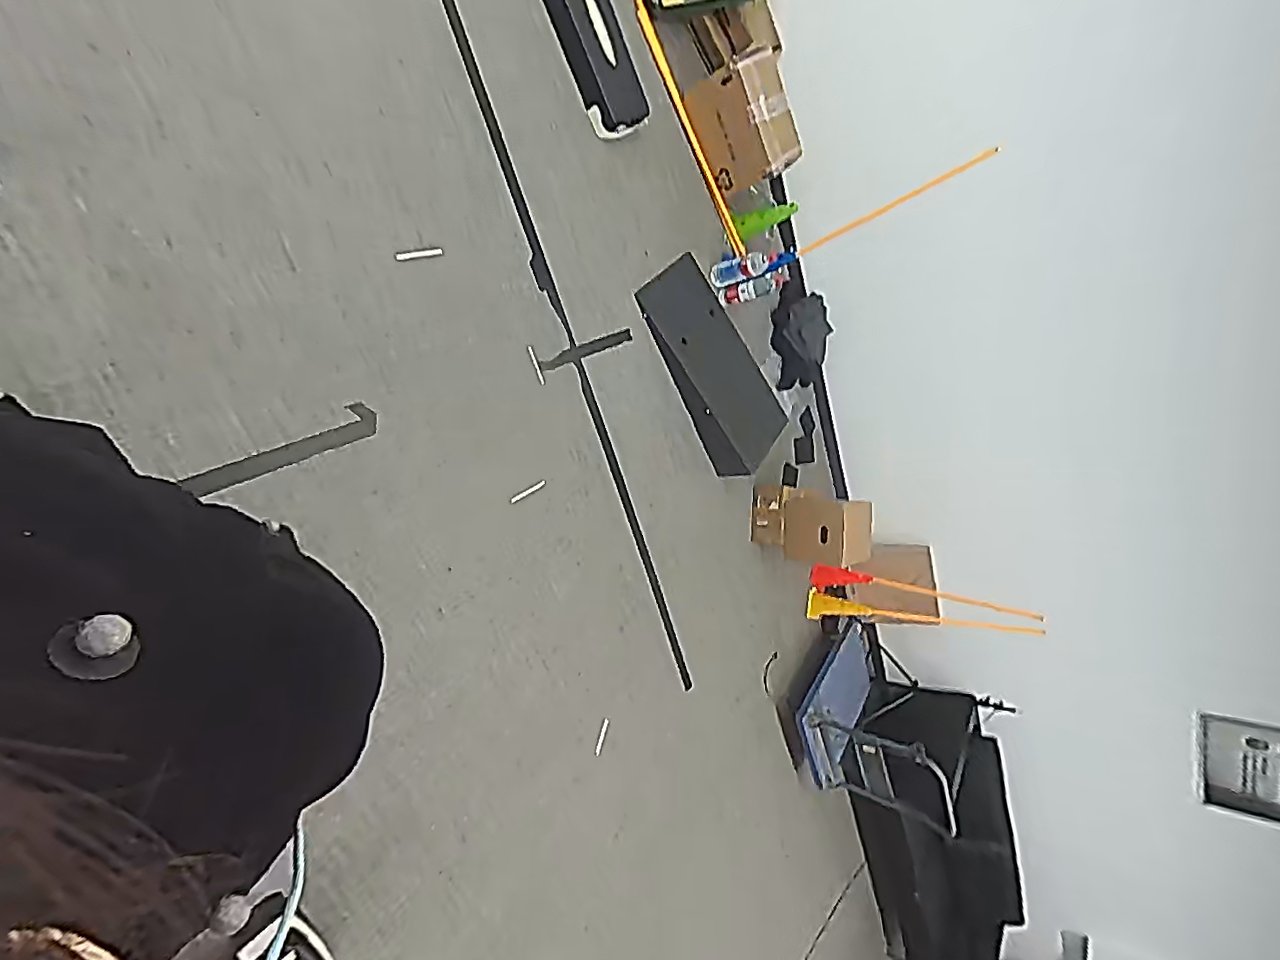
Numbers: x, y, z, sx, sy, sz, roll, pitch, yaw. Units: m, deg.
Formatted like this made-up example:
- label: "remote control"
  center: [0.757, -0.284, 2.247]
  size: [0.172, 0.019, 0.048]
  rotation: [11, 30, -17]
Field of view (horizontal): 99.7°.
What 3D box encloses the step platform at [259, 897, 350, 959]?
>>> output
- label: "step platform"
  center: [-0.932, 1.236, 1.065]
  size: [0.684, 0.204, 0.286]
  rotation: [-27, 108, -45]
